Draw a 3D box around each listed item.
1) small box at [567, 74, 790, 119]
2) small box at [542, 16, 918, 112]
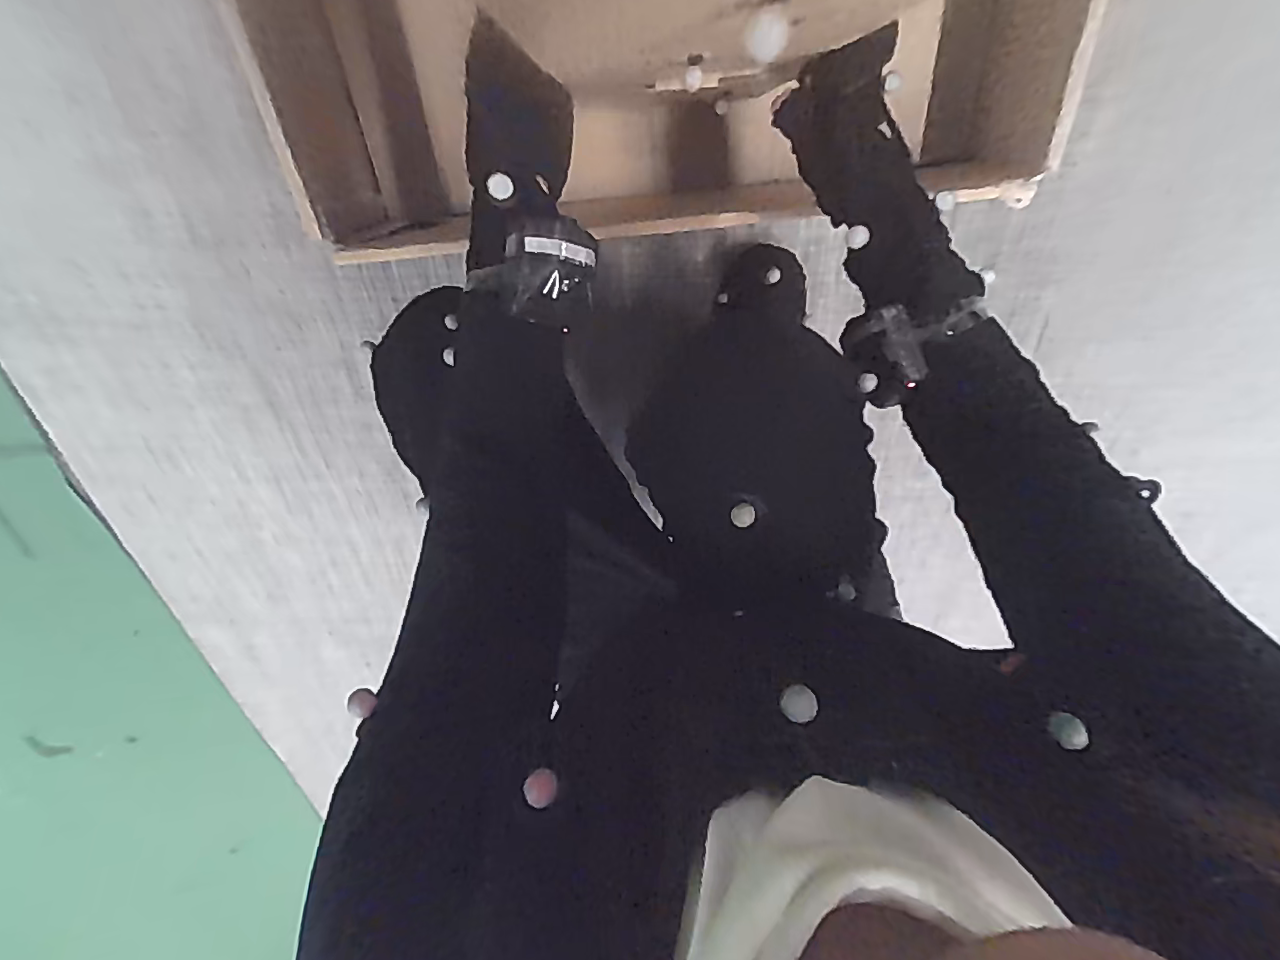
[{"bbox_3d":[0.022,-0.388,0.416,0.168,0.176,0.179,-3,120,1],"label":"small box"},{"bbox_3d":[0.026,-0.302,0.276,0.179,0.176,0.168,-9,121,3],"label":"small box"}]
